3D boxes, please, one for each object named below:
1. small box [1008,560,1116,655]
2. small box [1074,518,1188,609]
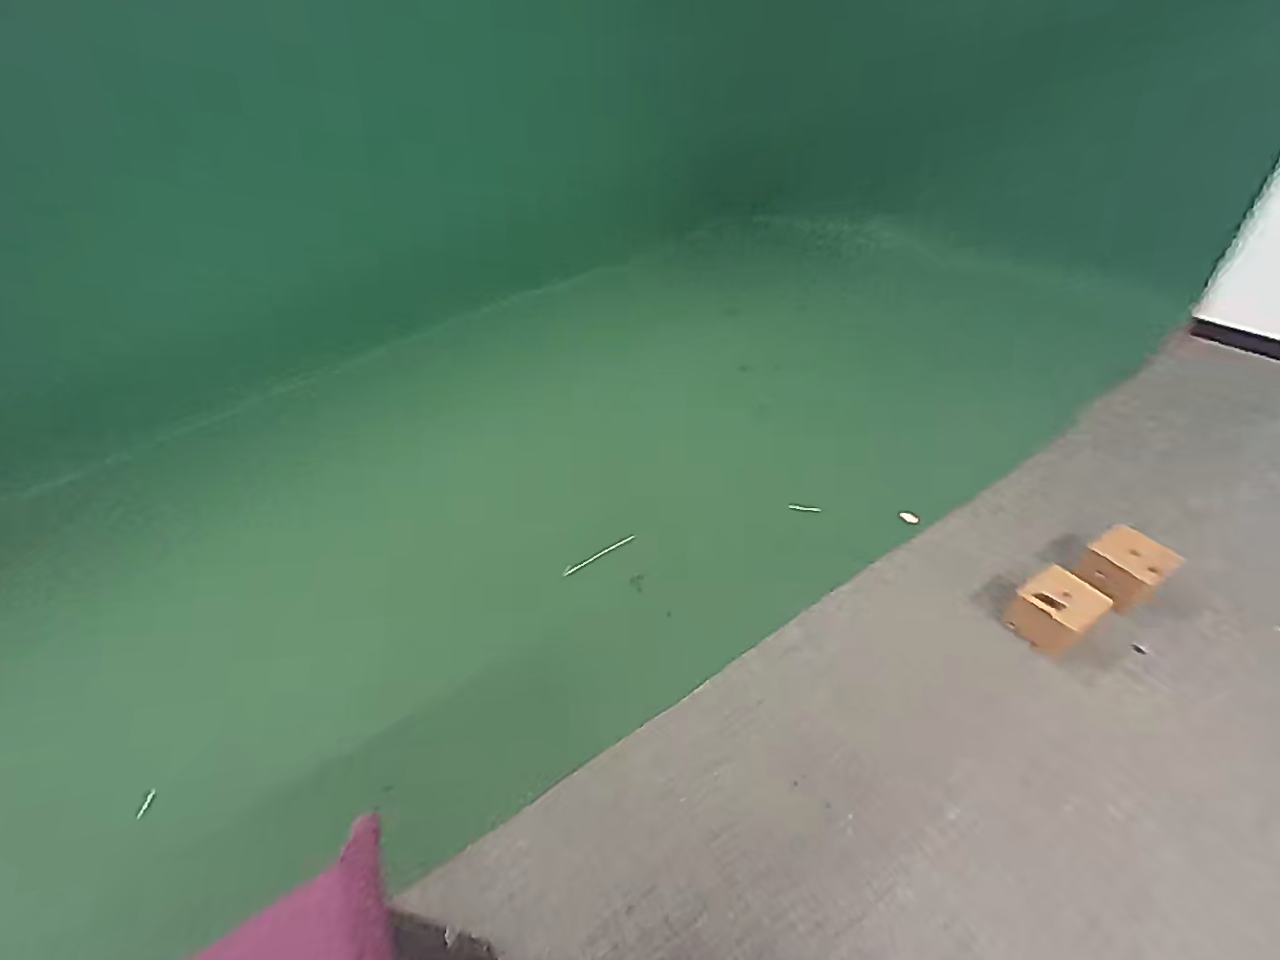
[{"bbox_3d":[1.214,0.374,1.573,0.179,0.176,0.168,-27,46,-16],"label":"small box"},{"bbox_3d":[1.470,0.255,1.637,0.168,0.176,0.179,-27,44,-14],"label":"small box"}]
